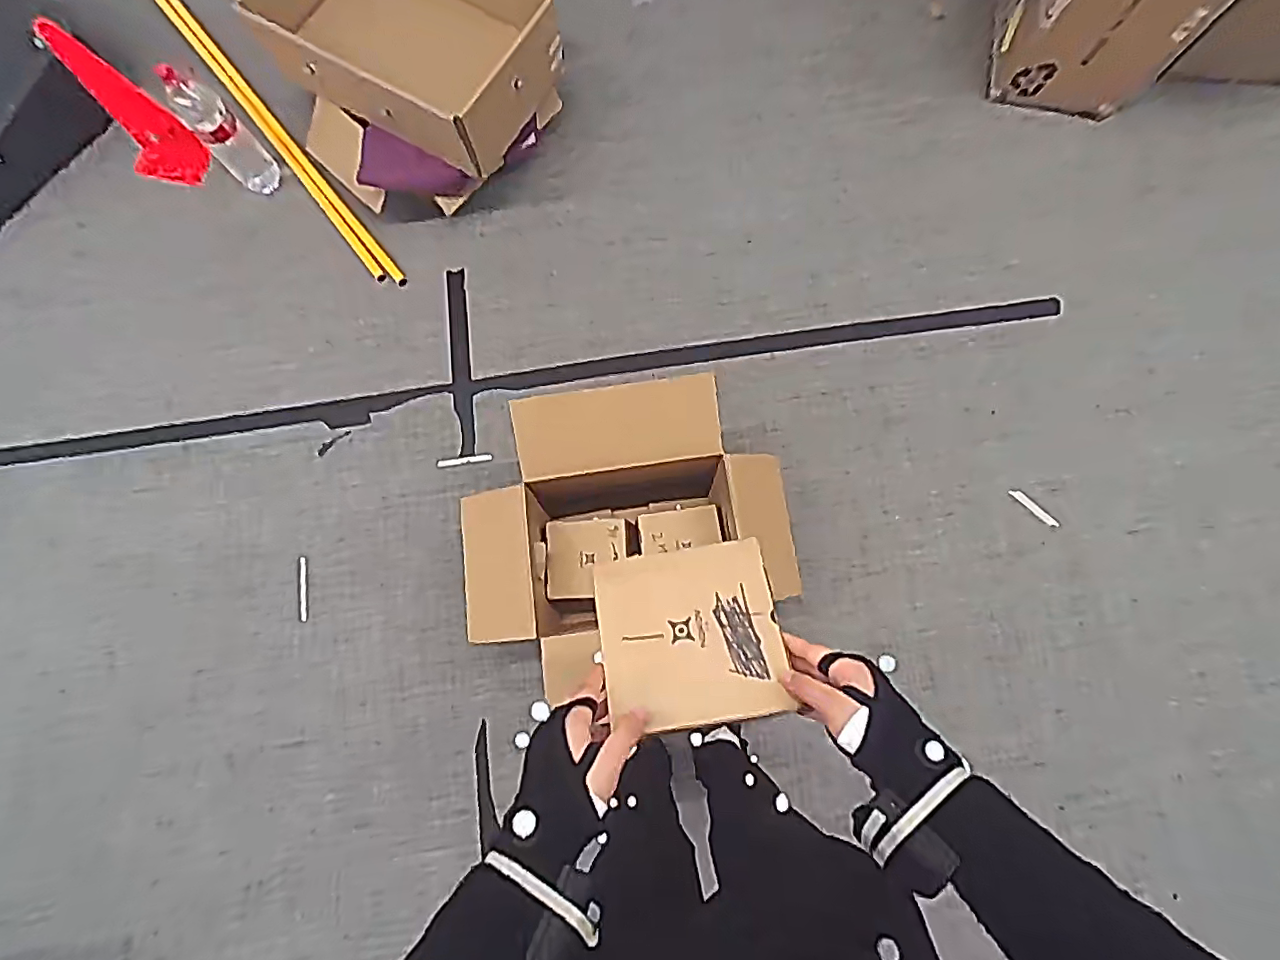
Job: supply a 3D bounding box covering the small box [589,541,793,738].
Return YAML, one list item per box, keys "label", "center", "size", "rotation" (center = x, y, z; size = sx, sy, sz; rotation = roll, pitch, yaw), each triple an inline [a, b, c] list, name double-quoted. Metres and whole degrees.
- label: "small box"
  center: [0.046, 0.181, 0.593]
  size: [0.179, 0.176, 0.168]
  rotation: [-9, 64, -1]
